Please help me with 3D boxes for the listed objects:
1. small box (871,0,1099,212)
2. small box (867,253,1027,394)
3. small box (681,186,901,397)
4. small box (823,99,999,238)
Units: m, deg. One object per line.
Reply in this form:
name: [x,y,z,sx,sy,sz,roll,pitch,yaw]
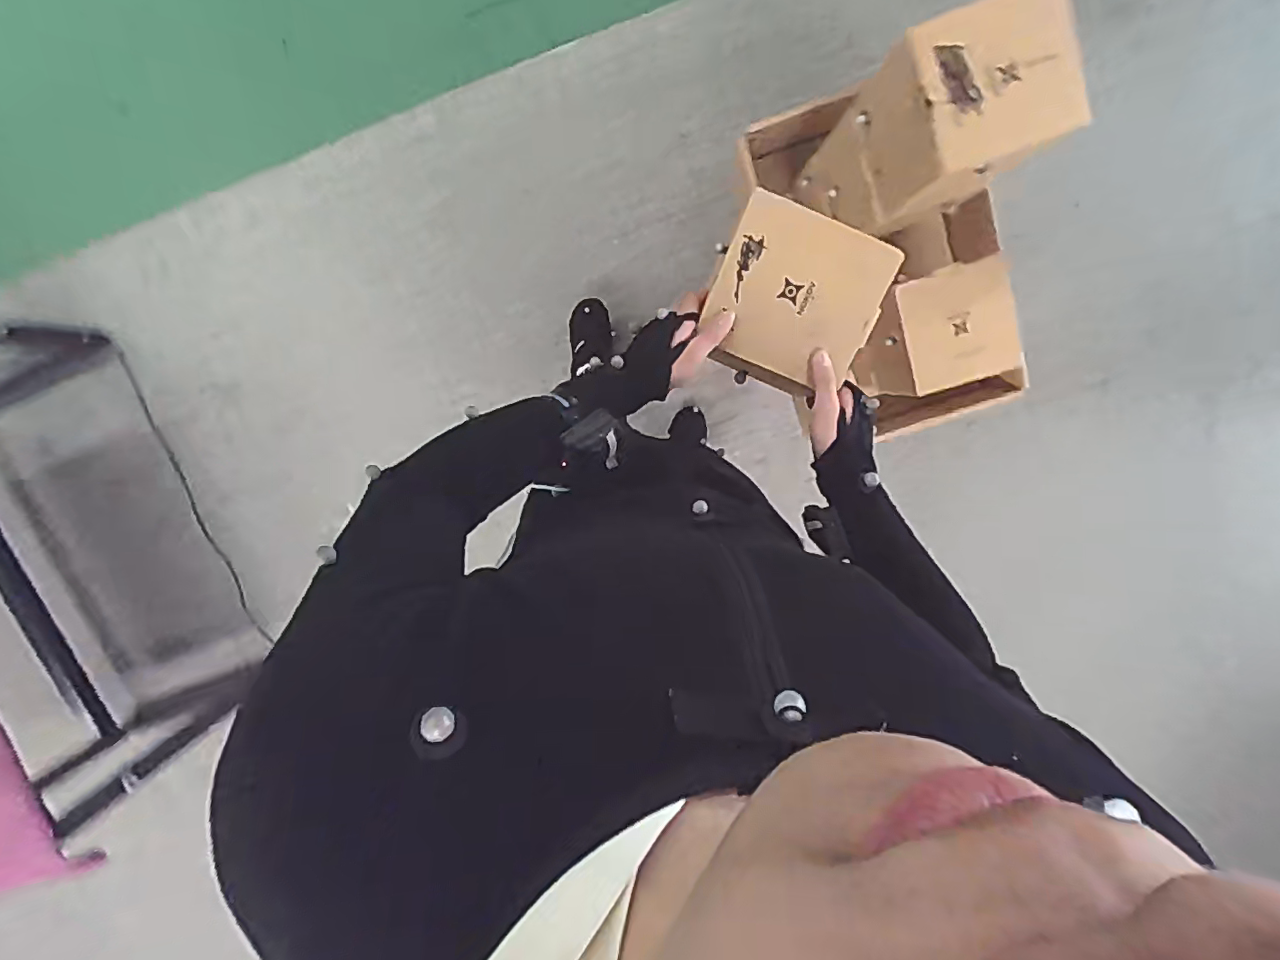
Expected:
small box: [0.415,-0.469,0.686,0.179,0.176,0.168,-19,100,4]
small box: [0.492,-0.248,0.894,0.168,0.176,0.179,-15,100,5]
small box: [0.162,-0.210,0.646,0.179,0.176,0.168,21,99,-4]
small box: [0.413,-0.493,0.848,0.179,0.176,0.168,-17,99,4]
